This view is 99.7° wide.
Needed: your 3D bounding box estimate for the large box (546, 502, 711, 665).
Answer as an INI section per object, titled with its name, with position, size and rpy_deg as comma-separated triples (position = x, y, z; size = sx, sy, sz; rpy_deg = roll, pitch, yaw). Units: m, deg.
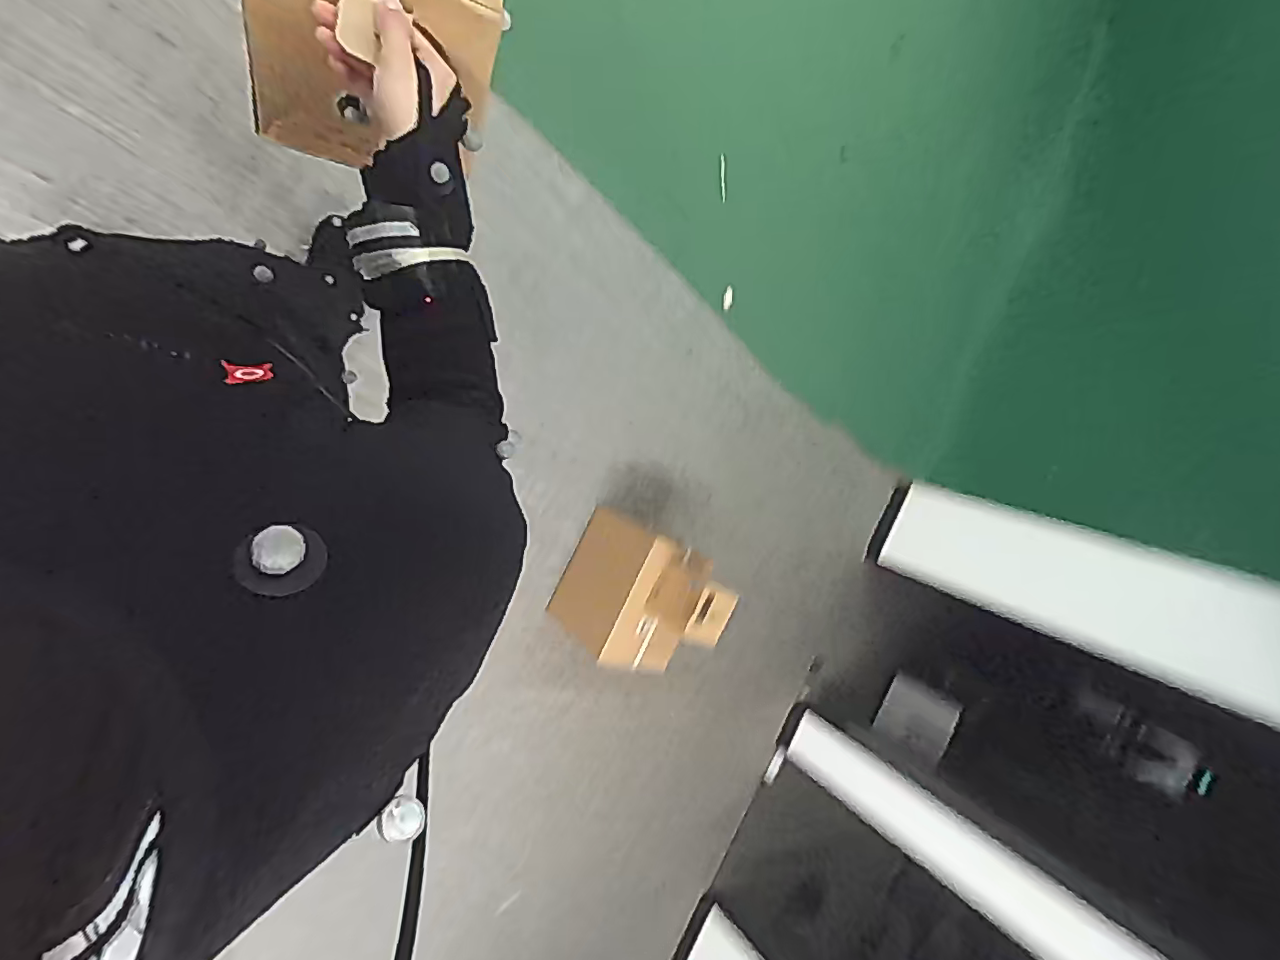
[large box]
position = -0.040, 0.334, 1.771
size = 0.320, 0.320, 0.408
rpy_deg = 26, 90, -42
